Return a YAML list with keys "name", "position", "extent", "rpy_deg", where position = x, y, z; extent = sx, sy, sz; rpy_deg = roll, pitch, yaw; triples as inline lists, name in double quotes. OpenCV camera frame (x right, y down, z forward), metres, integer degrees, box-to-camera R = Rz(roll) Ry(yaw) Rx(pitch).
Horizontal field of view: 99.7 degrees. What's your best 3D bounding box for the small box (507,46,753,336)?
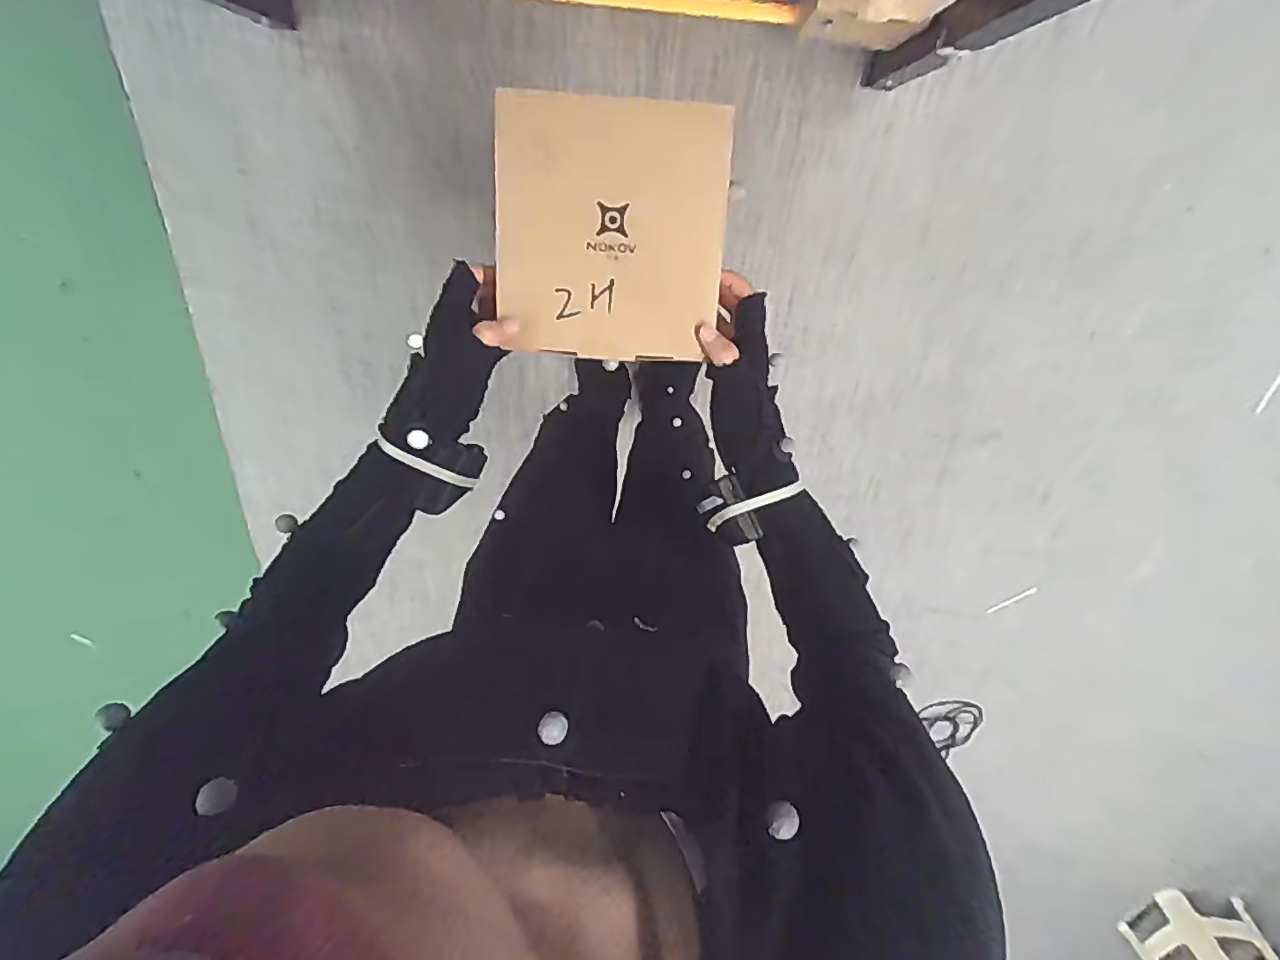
- name: "small box"
  position: [-0.012, -0.217, 0.455]
  extent: [0.168, 0.176, 0.179]
  rpy_deg: [3, 105, -1]
